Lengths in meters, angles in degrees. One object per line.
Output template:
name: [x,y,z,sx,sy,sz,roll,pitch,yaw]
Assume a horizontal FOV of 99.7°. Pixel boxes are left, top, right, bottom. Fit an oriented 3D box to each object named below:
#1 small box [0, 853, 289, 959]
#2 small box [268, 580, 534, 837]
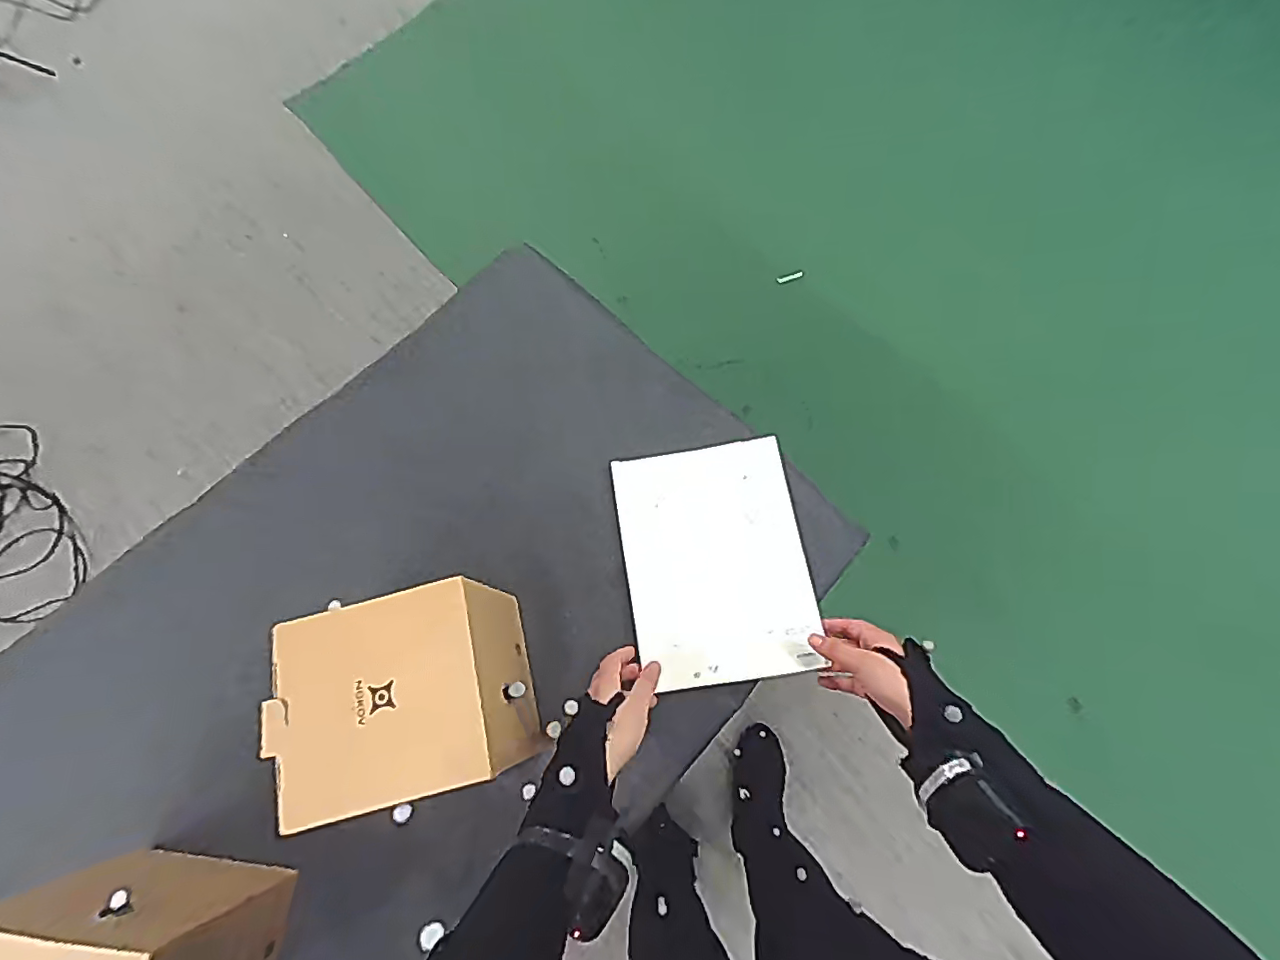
small box: [-0.447,0.446,0.460,0.179,0.176,0.168,4,73,6]
small box: [-0.210,0.203,0.518,0.179,0.176,0.168,-16,72,0]
